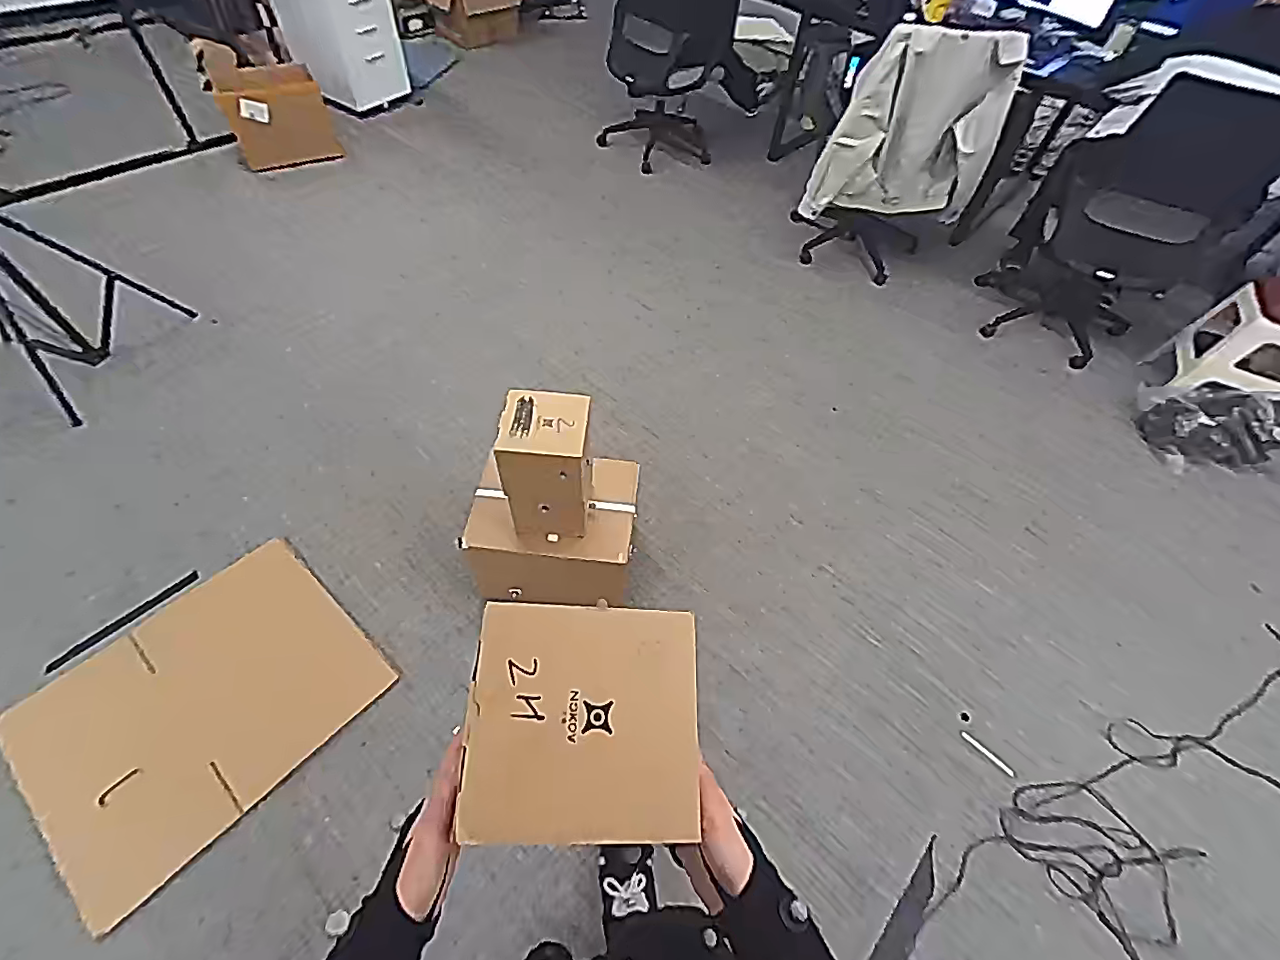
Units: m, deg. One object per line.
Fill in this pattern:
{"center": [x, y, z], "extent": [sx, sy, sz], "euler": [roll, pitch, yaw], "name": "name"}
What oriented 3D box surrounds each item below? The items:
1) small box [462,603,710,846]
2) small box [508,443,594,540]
{"center": [-0.046, 0.214, 0.480], "extent": [0.179, 0.176, 0.168], "euler": [5, 63, -8], "name": "small box"}
{"center": [-0.207, 0.031, 1.300], "extent": [0.179, 0.176, 0.168], "euler": [5, 55, -2], "name": "small box"}
